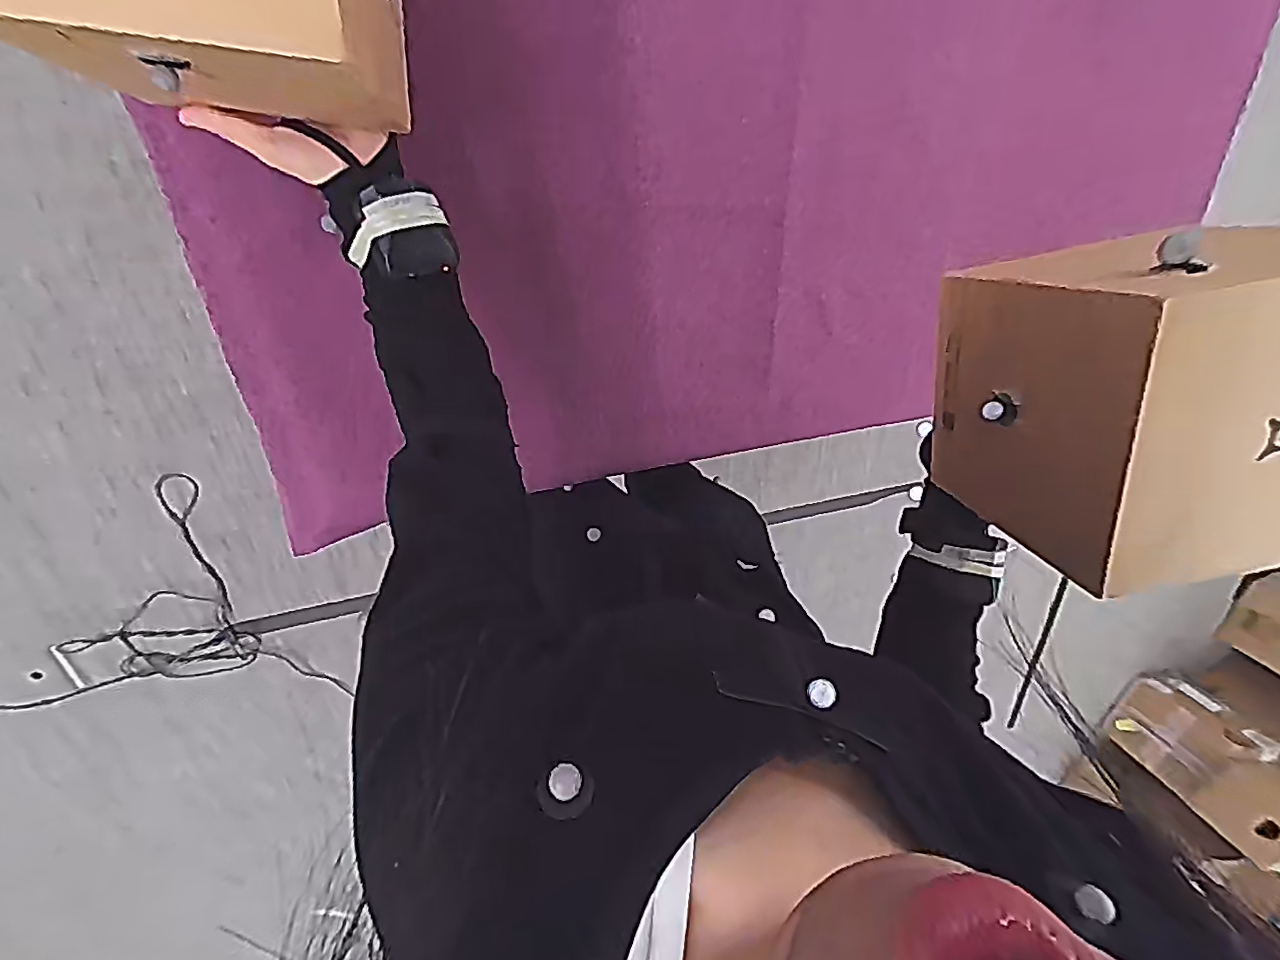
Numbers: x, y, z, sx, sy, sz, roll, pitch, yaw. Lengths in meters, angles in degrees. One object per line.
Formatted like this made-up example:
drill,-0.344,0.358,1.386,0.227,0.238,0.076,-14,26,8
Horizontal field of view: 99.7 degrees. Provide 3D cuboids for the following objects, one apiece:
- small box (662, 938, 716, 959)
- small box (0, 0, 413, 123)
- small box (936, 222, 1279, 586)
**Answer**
small box,0.173,1.671,1.799,0.168,0.176,0.179,-7,117,-15
small box,-0.234,-0.310,0.288,0.179,0.176,0.168,-1,113,-12
small box,0.318,-0.061,0.344,0.179,0.176,0.168,-11,115,-1
